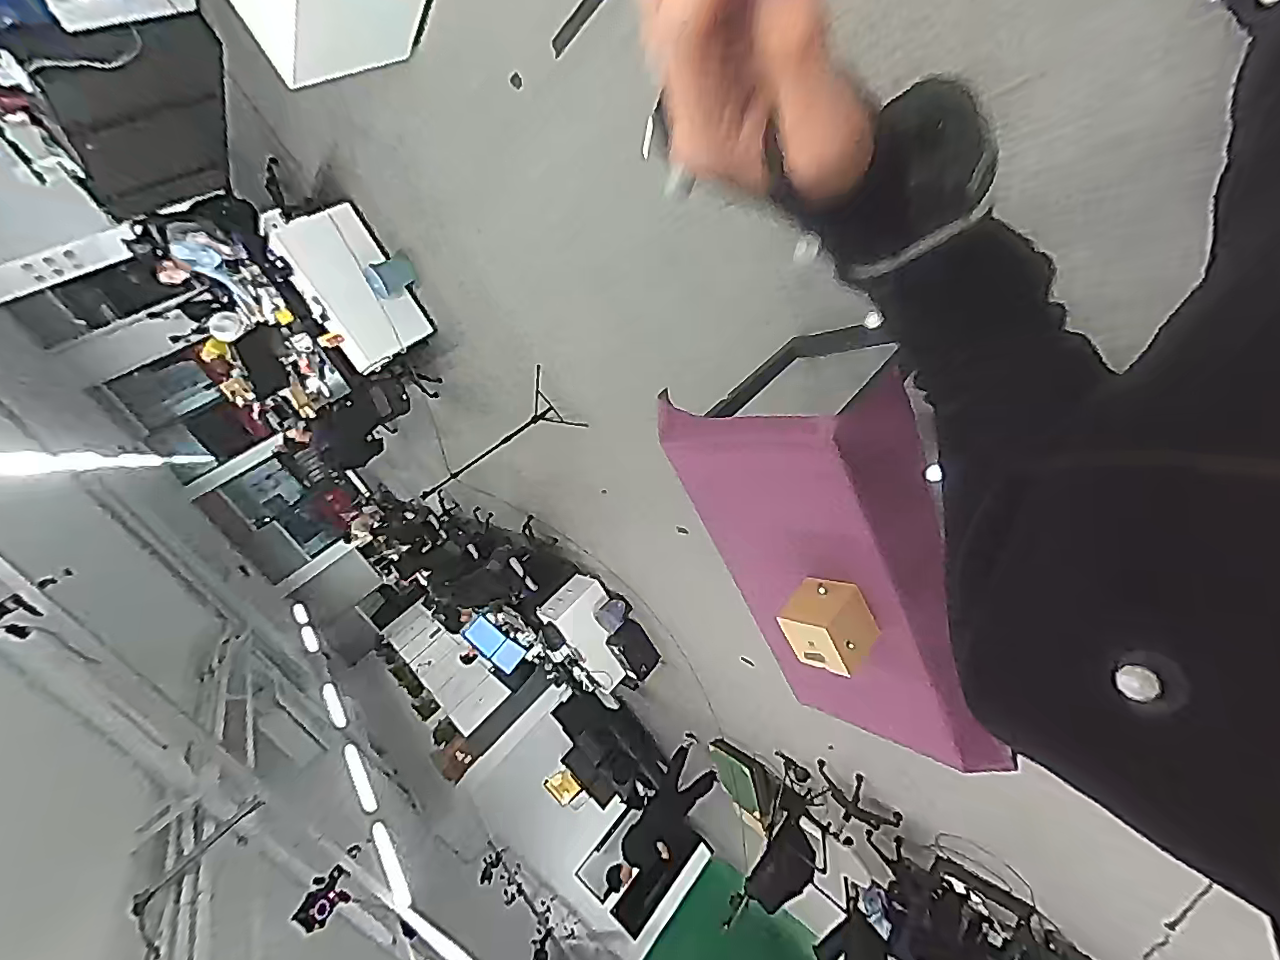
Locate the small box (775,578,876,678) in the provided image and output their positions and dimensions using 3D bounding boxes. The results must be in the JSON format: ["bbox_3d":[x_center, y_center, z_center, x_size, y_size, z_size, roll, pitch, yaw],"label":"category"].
[{"bbox_3d":[0.508,0.396,1.468,0.168,0.176,0.179,-3,123,56],"label":"small box"}]
